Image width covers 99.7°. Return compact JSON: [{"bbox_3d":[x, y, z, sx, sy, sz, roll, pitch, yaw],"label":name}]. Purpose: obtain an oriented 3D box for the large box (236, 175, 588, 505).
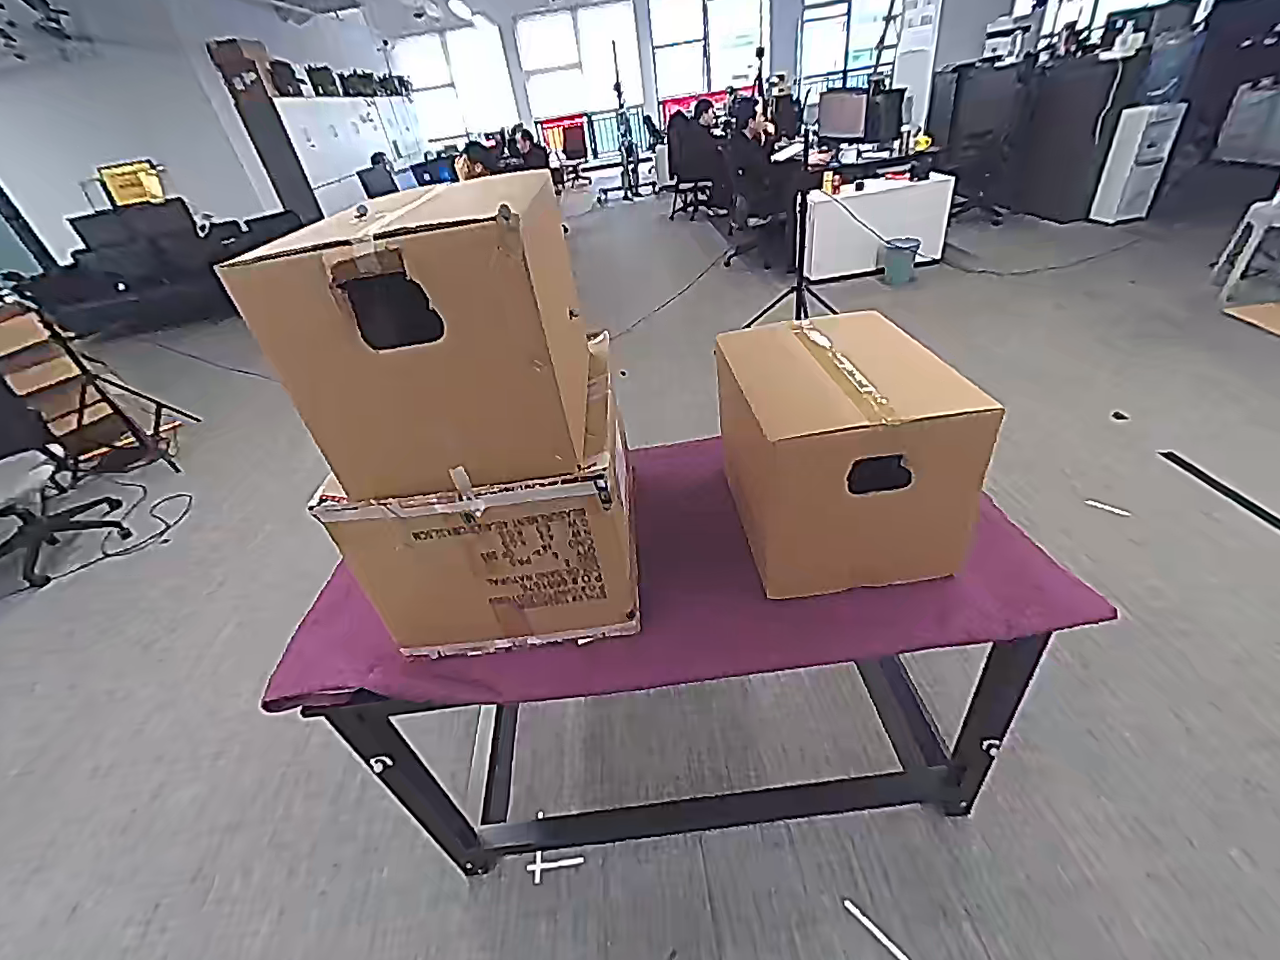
[{"bbox_3d":[-0.252,-0.222,0.783,0.320,0.320,0.408,-10,36,2],"label":"large box"}]
